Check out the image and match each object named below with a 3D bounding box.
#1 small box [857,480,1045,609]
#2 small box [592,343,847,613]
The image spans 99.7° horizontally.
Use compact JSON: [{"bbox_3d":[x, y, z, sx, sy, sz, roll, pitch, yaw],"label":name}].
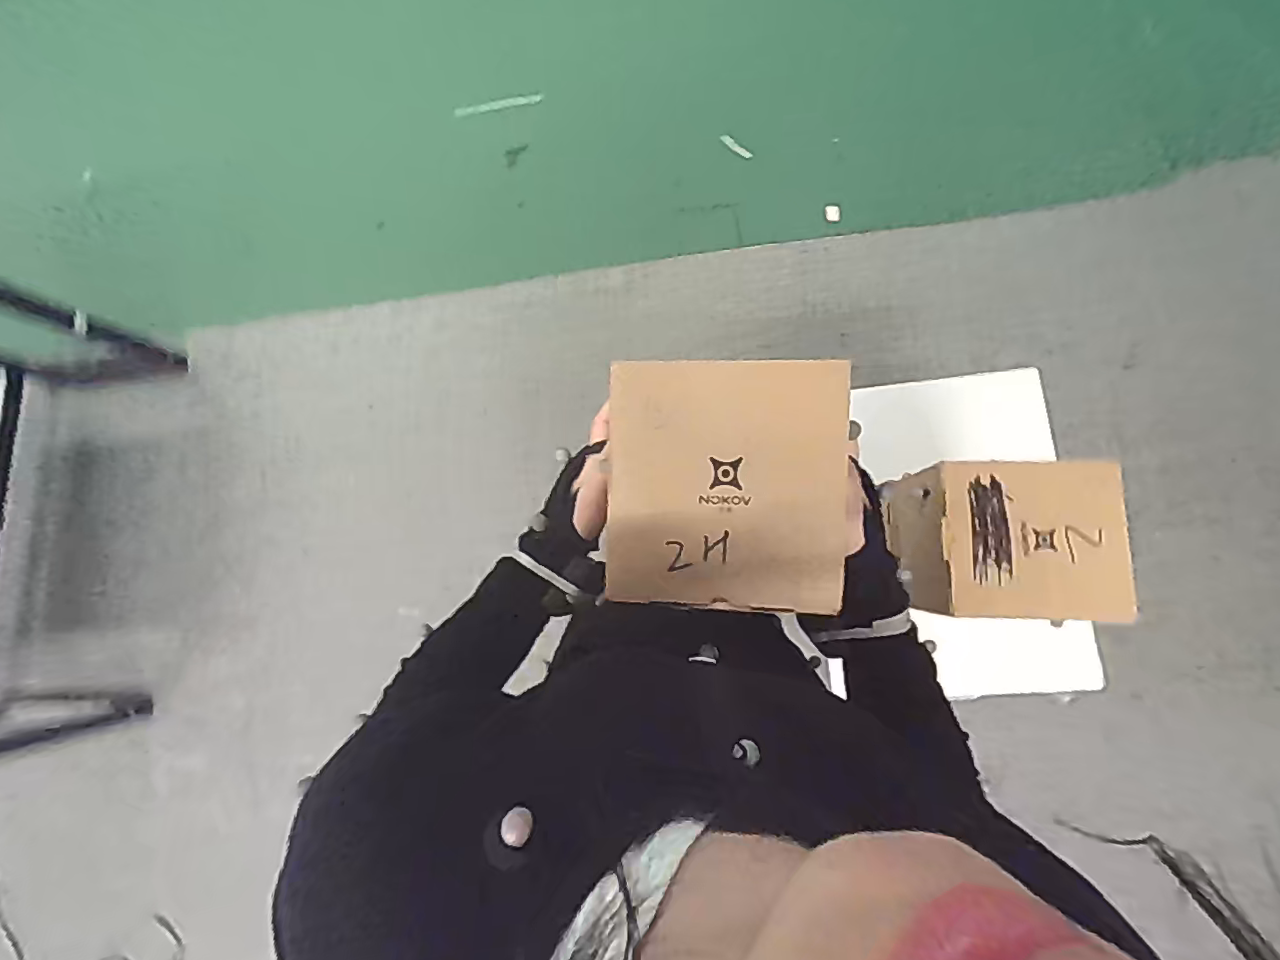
[{"bbox_3d":[0.428,0.094,0.773,0.179,0.176,0.168,-2,80,7],"label":"small box"},{"bbox_3d":[0.060,-0.003,0.437,0.168,0.176,0.179,1,91,8],"label":"small box"}]
